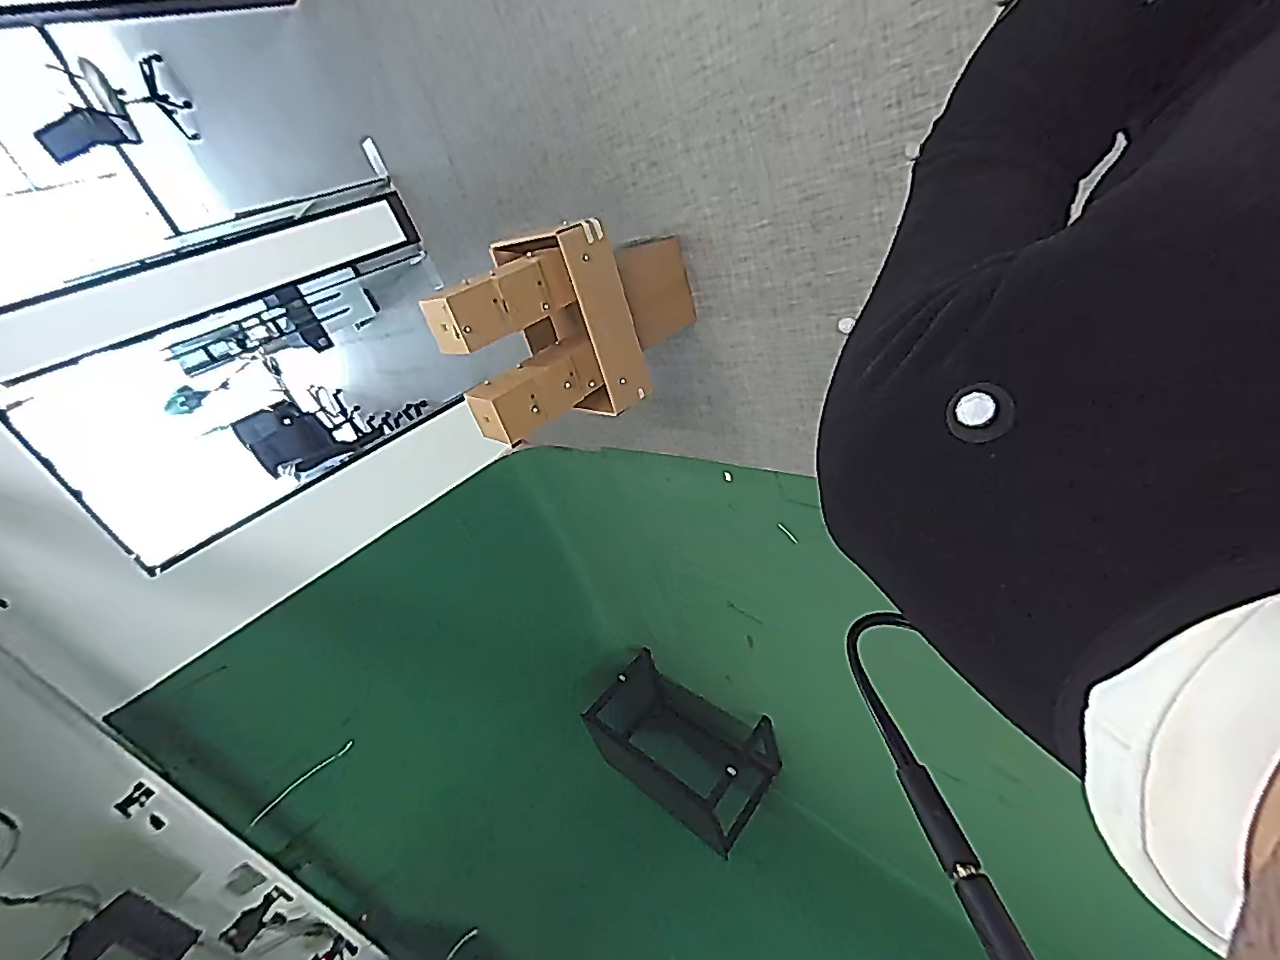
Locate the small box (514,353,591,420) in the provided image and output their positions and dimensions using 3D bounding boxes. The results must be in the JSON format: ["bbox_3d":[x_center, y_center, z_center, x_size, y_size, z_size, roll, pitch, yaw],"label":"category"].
[{"bbox_3d":[-0.300,-0.330,1.872,0.179,0.176,0.168,18,136,42],"label":"small box"}]

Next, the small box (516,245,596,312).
[{"bbox_3d":[-0.276,-0.672,1.807,0.179,0.176,0.168,15,133,43],"label":"small box"}]

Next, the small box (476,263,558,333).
[{"bbox_3d":[-0.380,-0.581,1.718,0.179,0.176,0.168,17,134,42],"label":"small box"}]

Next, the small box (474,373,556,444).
[{"bbox_3d":[-0.408,-0.243,1.786,0.179,0.176,0.168,17,136,43],"label":"small box"}]

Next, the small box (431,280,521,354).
[{"bbox_3d":[-0.493,-0.494,1.635,0.179,0.176,0.168,14,133,45],"label":"small box"}]
